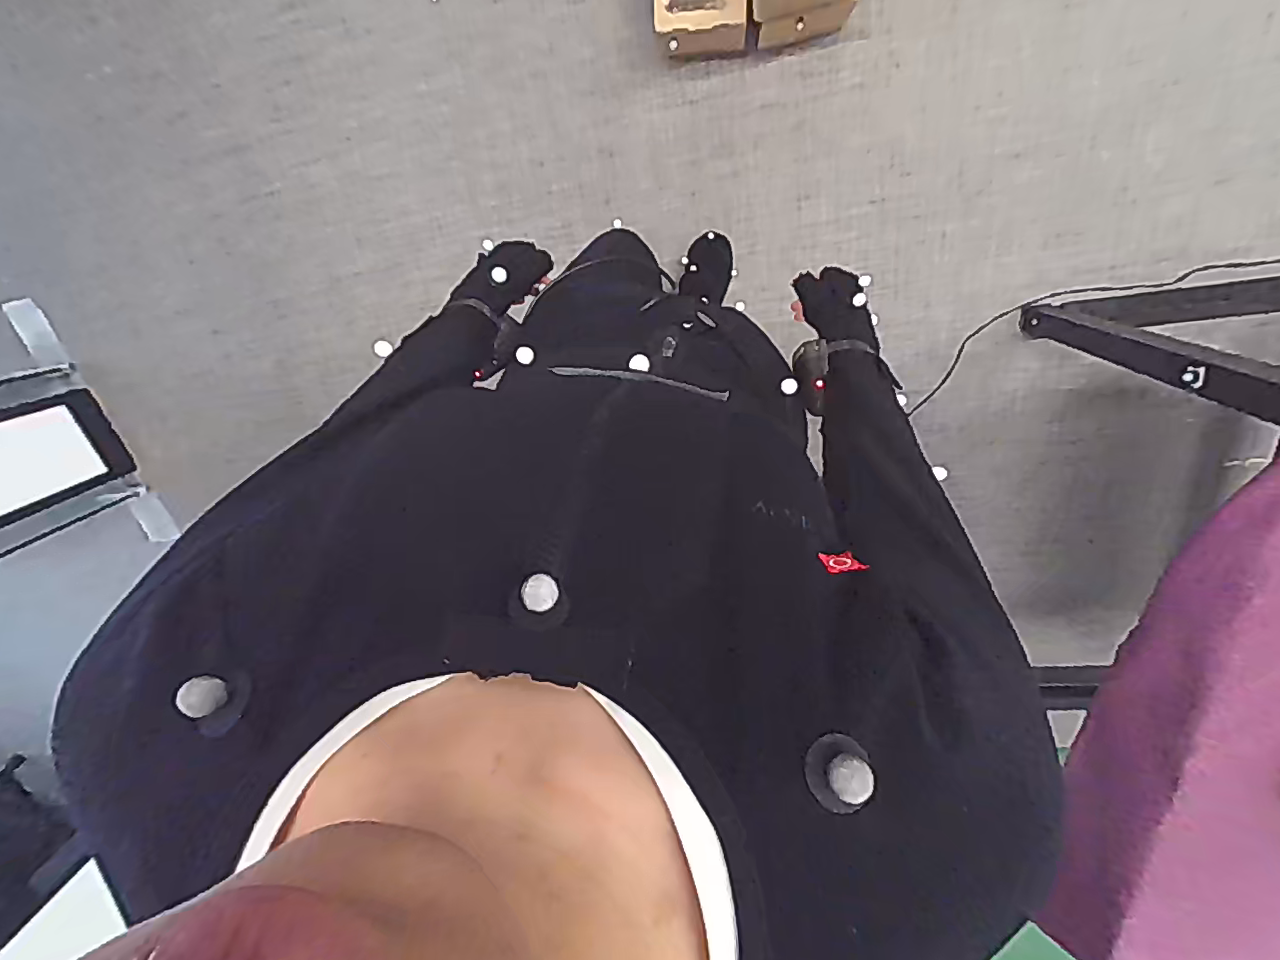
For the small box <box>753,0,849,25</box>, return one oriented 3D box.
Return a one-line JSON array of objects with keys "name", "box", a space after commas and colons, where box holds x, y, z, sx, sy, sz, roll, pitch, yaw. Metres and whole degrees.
[{"name": "small box", "box": [0.262, -0.852, 0.842, 0.179, 0.176, 0.168, -6, 114, 11]}]
